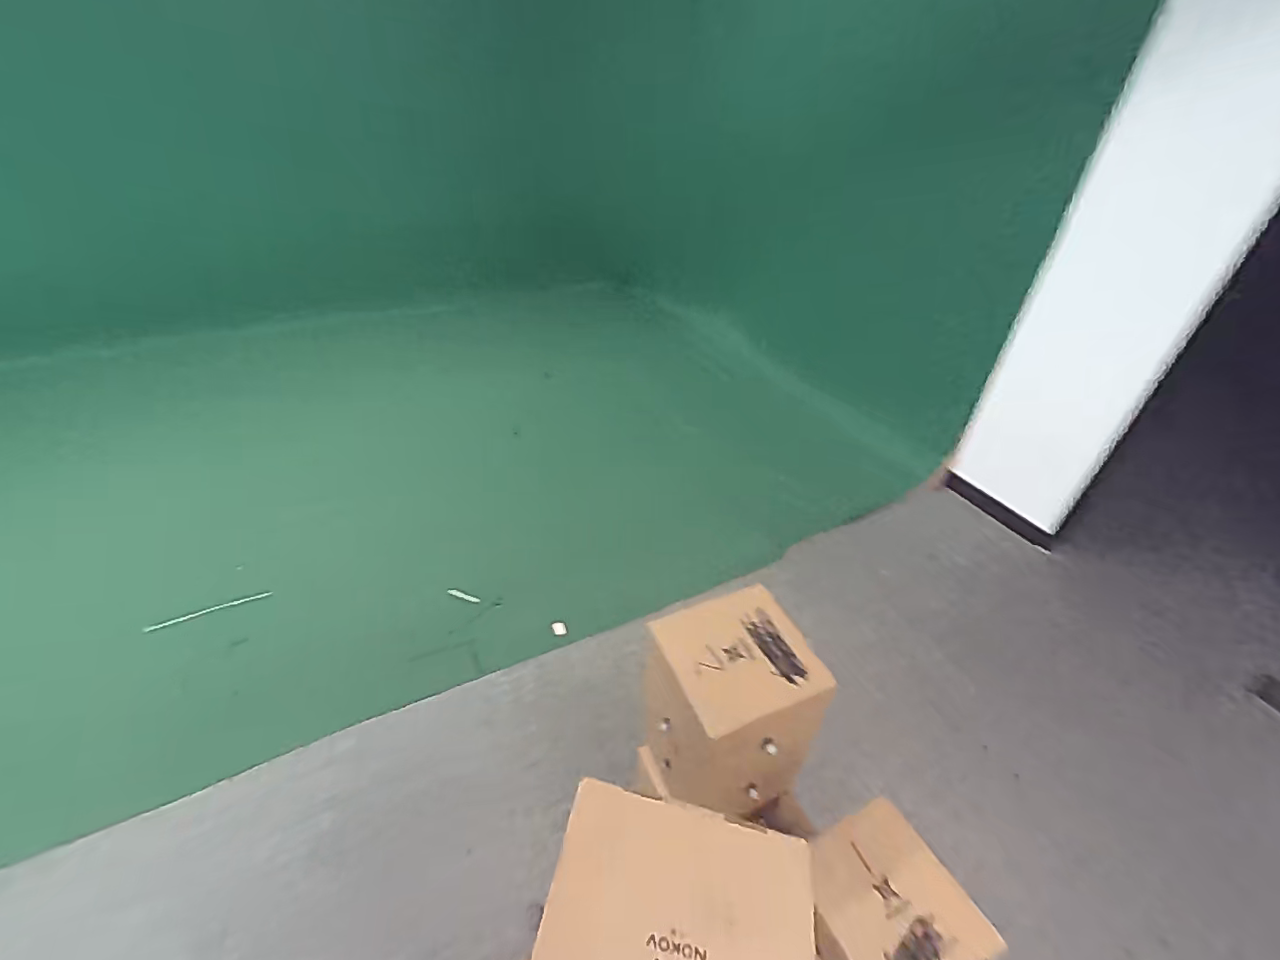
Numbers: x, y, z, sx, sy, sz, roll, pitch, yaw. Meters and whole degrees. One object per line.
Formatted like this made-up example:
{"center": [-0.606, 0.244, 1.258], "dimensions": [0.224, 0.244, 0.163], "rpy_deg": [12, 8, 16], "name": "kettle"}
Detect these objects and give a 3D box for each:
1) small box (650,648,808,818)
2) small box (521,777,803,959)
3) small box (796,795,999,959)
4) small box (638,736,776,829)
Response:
{"center": [0.123, 0.397, 0.827], "dimensions": [0.179, 0.176, 0.168], "rpy_deg": [-14, 43, -19], "name": "small box"}
{"center": [0.001, 0.343, 0.365], "dimensions": [0.168, 0.176, 0.179], "rpy_deg": [15, 41, 3], "name": "small box"}
{"center": [0.277, 0.538, 0.662], "dimensions": [0.168, 0.176, 0.179], "rpy_deg": [-15, 40, -21], "name": "small box"}
{"center": [0.106, 0.527, 0.926], "dimensions": [0.179, 0.176, 0.168], "rpy_deg": [-15, 43, -20], "name": "small box"}
